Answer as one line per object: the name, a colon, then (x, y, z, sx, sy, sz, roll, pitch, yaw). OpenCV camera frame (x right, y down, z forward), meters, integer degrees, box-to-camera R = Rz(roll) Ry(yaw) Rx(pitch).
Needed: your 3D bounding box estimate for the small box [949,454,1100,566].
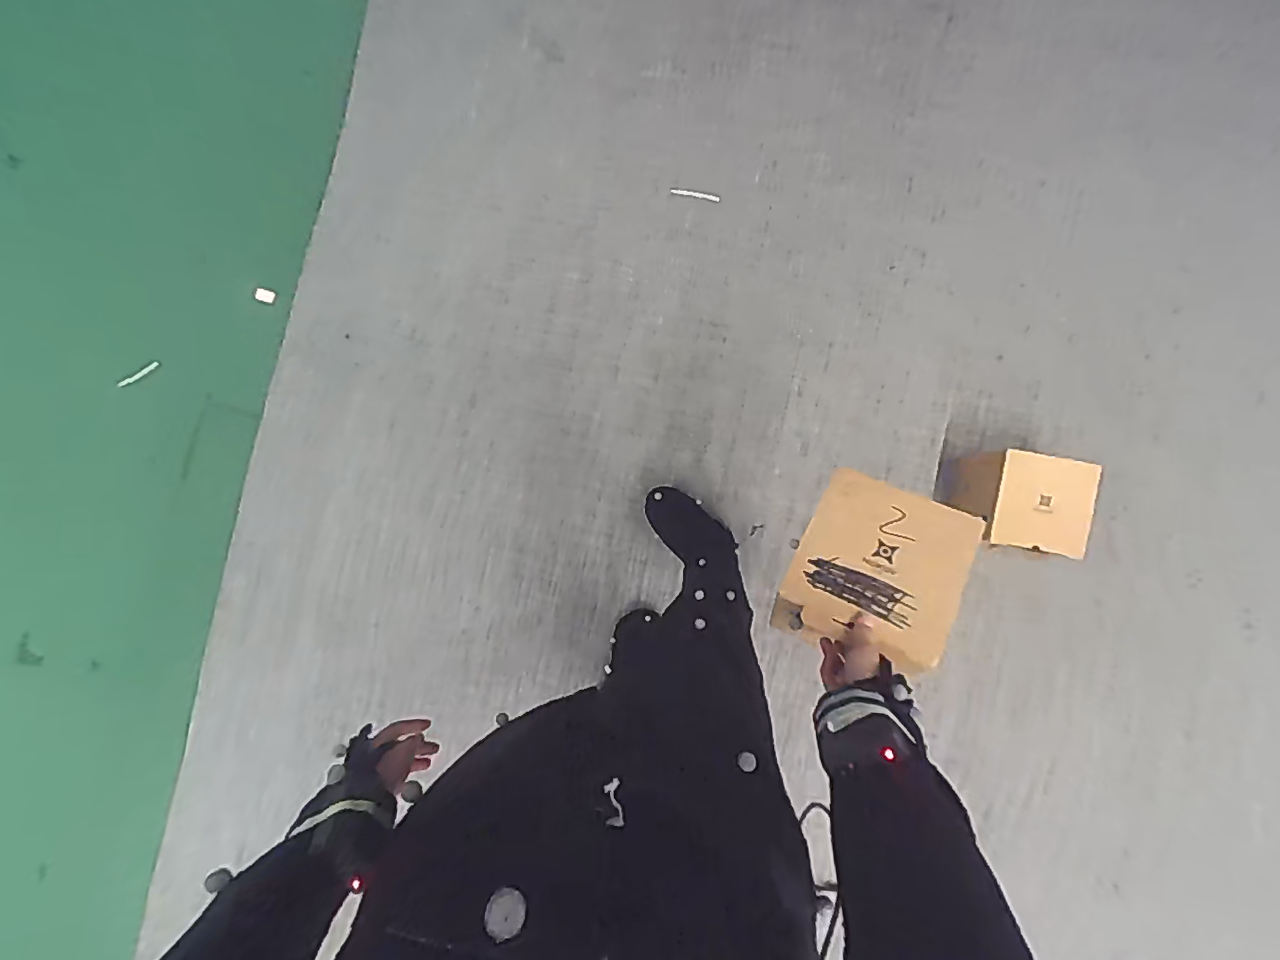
small box: (0.731, 0.055, 1.048, 0.168, 0.176, 0.179, 11, 89, 5)
